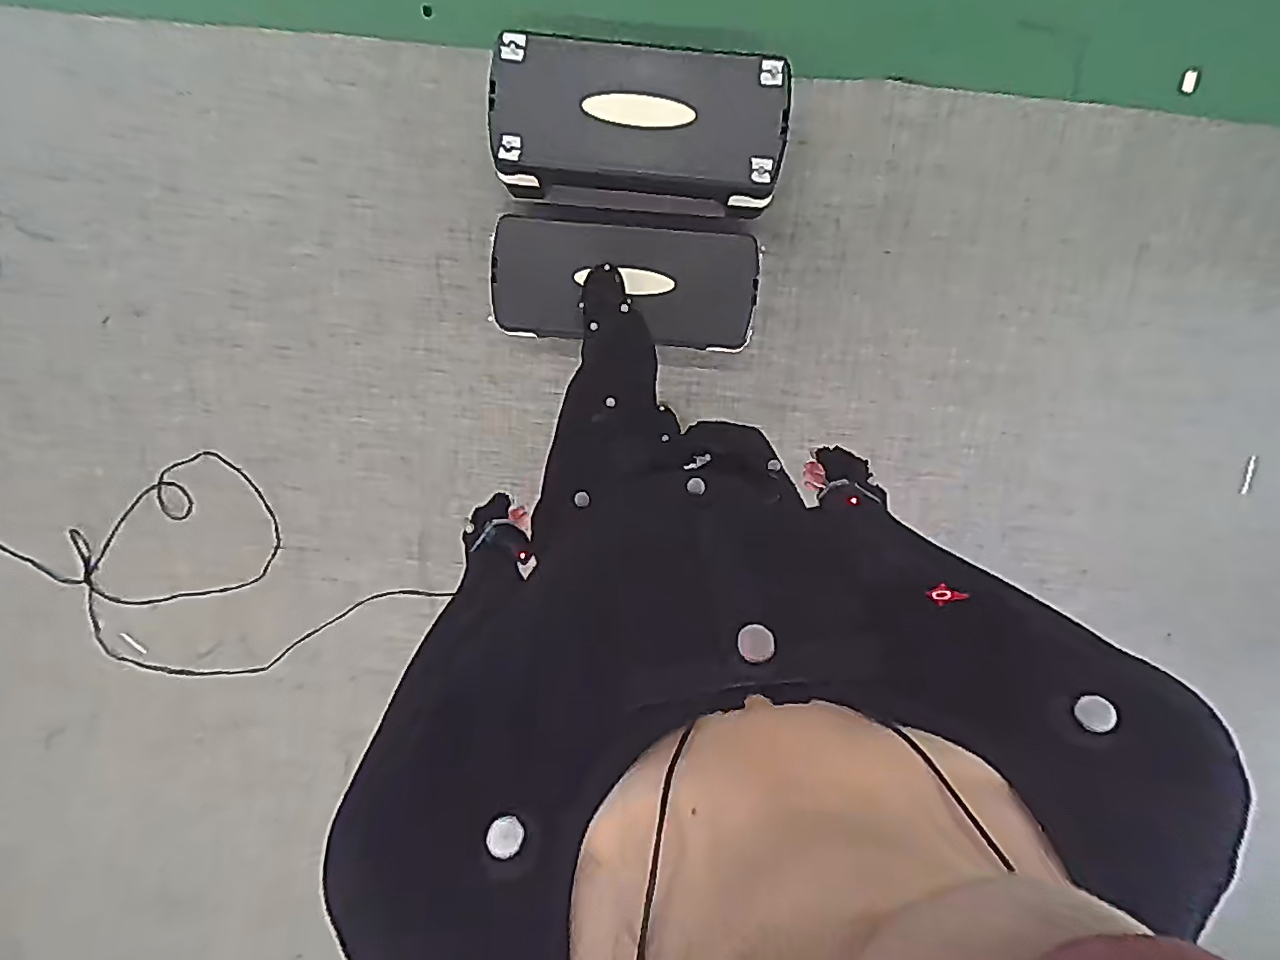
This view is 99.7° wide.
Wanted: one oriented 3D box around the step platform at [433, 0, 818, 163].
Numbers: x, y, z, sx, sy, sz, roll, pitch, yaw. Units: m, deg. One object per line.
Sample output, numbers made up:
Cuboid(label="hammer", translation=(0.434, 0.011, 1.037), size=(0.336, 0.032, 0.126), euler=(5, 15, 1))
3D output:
Cuboid(label="step platform", translation=(-0.027, -0.817, 1.049), size=(0.684, 0.204, 0.286), euler=(5, 101, 0))
